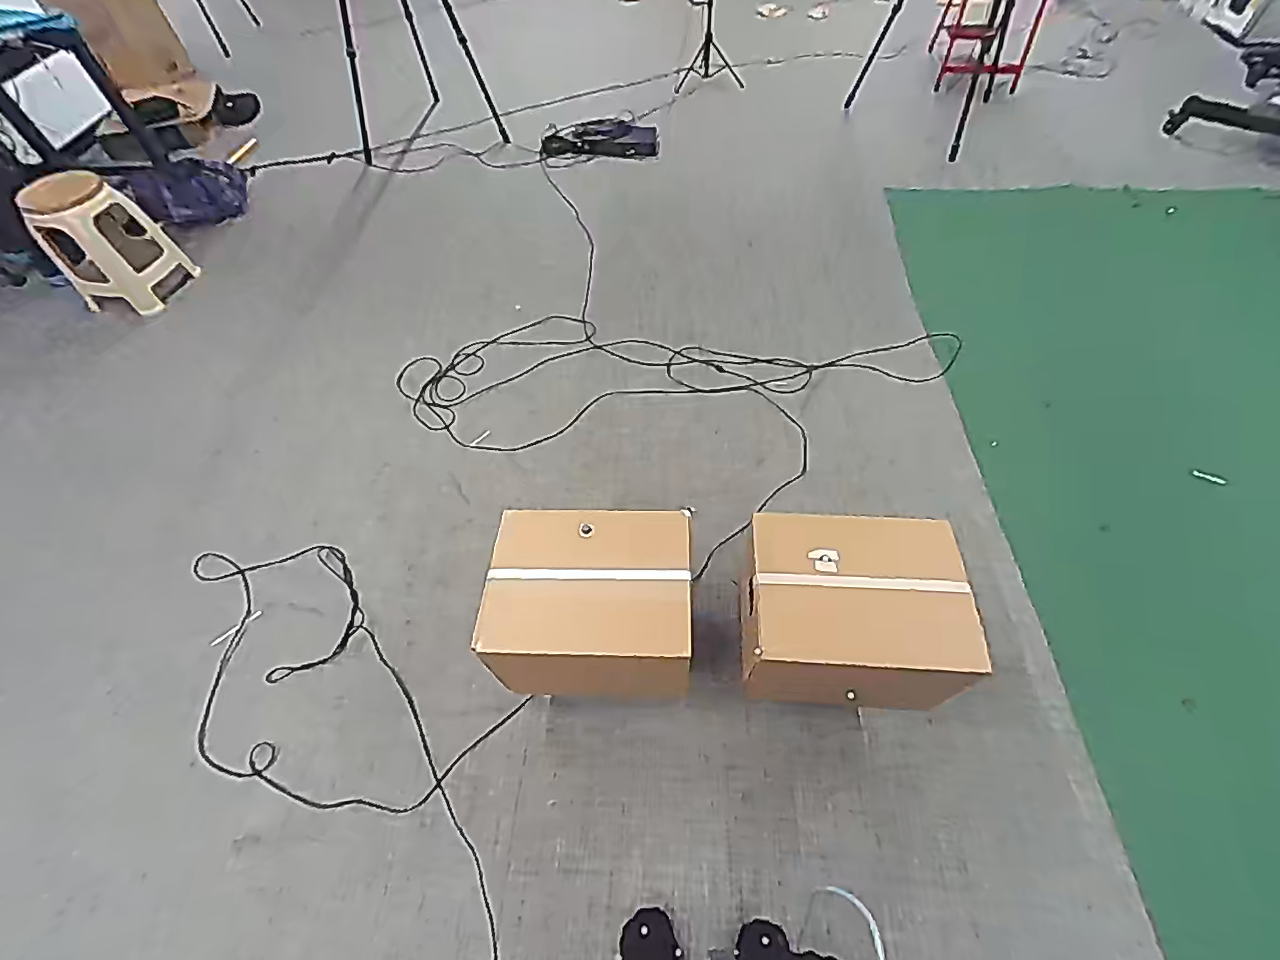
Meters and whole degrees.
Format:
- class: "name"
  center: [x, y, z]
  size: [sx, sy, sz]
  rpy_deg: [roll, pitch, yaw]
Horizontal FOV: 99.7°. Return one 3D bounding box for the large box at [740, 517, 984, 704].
- class: "large box"
  center: [0.438, 0.293, 1.185]
  size: [0.408, 0.320, 0.320]
  rpy_deg: [2, 55, 5]
